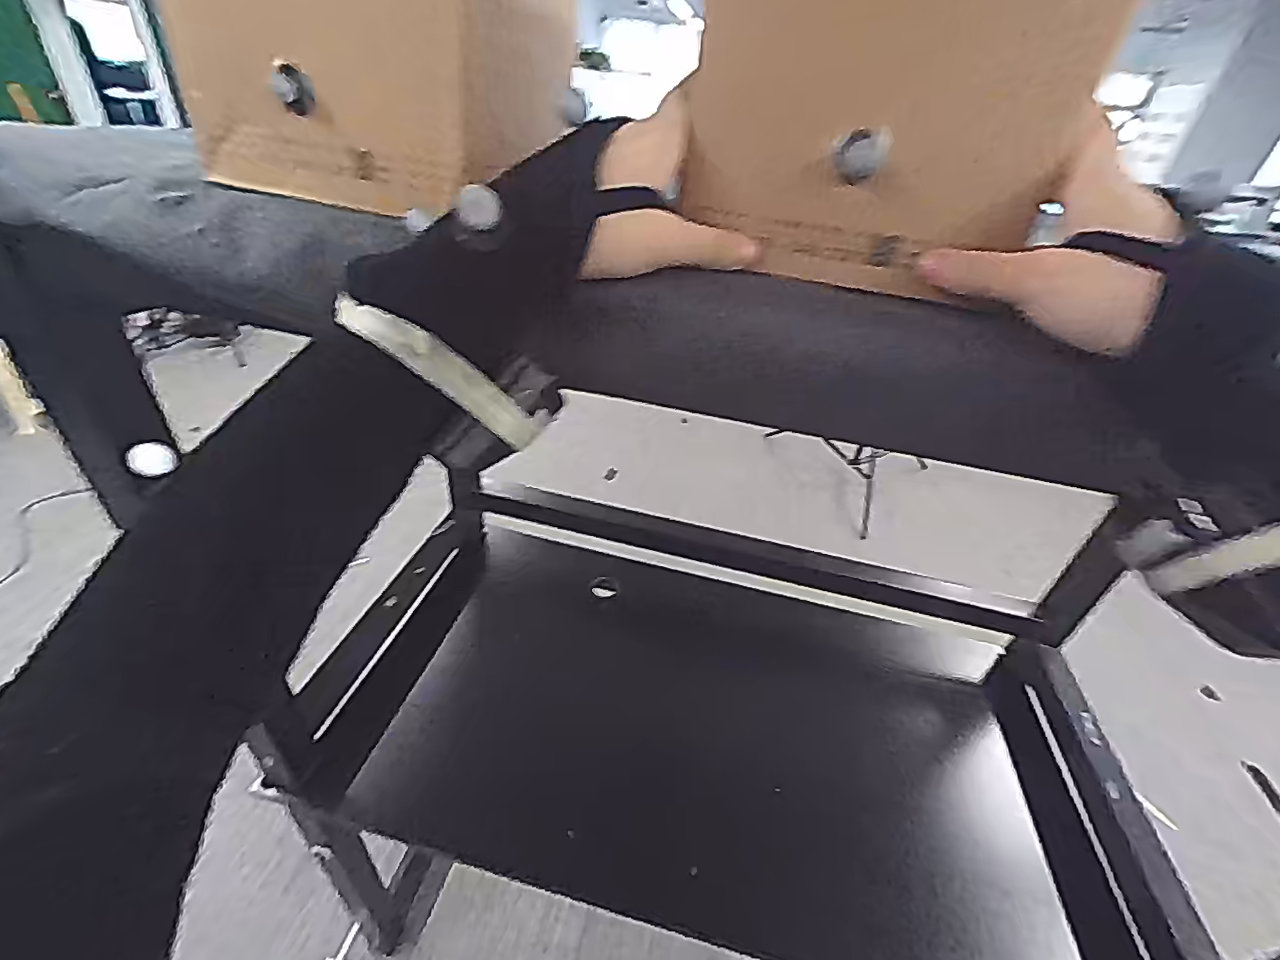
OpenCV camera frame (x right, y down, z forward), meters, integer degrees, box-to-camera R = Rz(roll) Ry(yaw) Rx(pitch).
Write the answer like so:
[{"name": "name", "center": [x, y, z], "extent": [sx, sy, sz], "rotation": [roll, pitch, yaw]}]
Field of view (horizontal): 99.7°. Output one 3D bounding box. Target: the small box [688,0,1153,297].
[{"name": "small box", "center": [0.128, -0.213, 0.295], "extent": [0.168, 0.176, 0.179], "rotation": [12, 33, 9]}]

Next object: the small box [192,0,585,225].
[{"name": "small box", "center": [-0.138, -0.269, 0.331], "extent": [0.168, 0.176, 0.179], "rotation": [12, 34, 6]}]
